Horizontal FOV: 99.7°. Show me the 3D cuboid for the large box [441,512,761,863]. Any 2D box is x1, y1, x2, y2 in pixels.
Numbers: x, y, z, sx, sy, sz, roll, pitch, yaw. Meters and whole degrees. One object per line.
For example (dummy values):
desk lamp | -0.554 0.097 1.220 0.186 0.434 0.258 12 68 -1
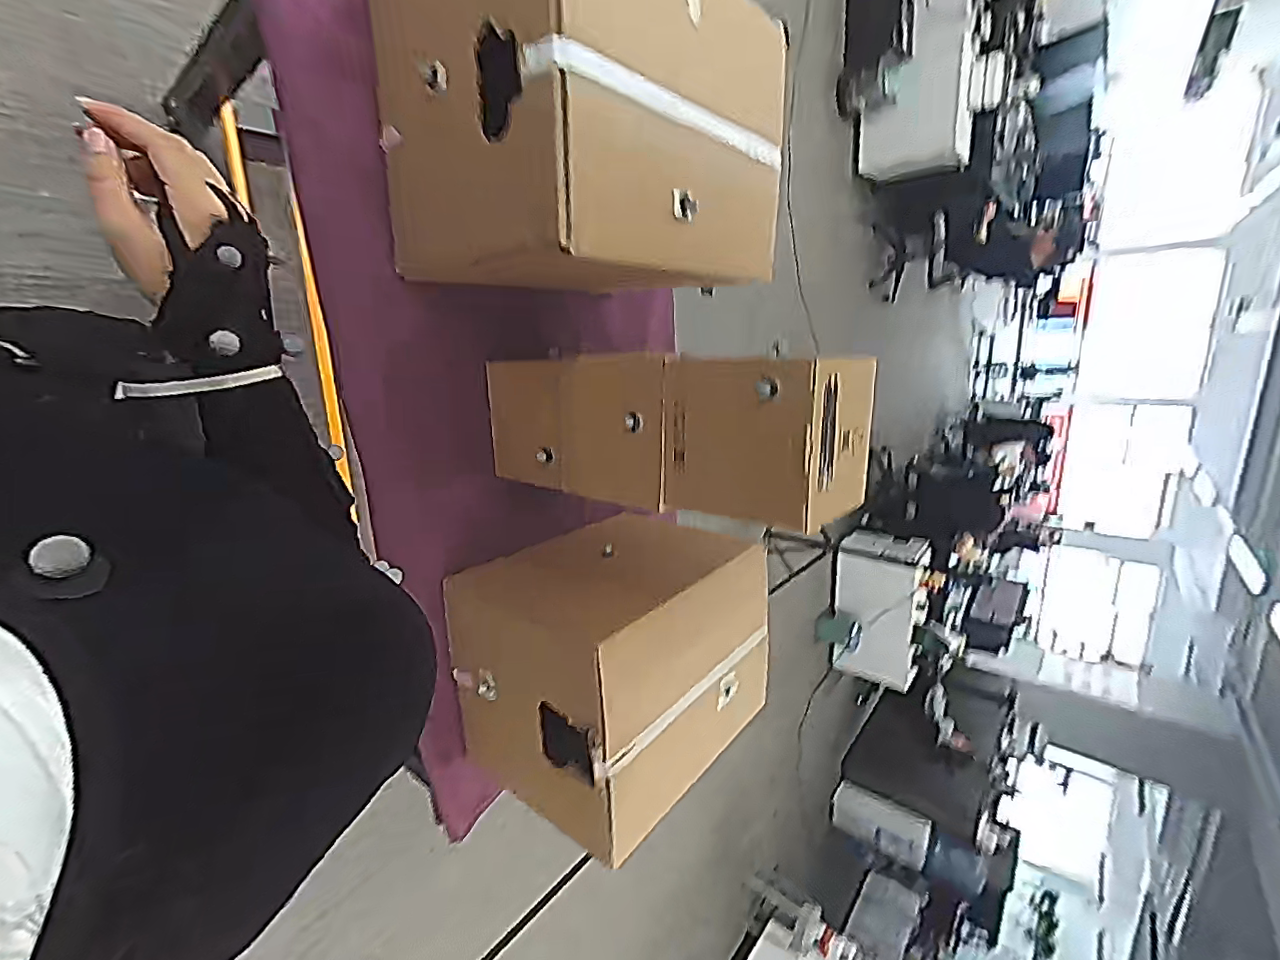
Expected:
large box | -0.041 0.264 0.859 0.408 0.320 0.320 -19 112 -50
